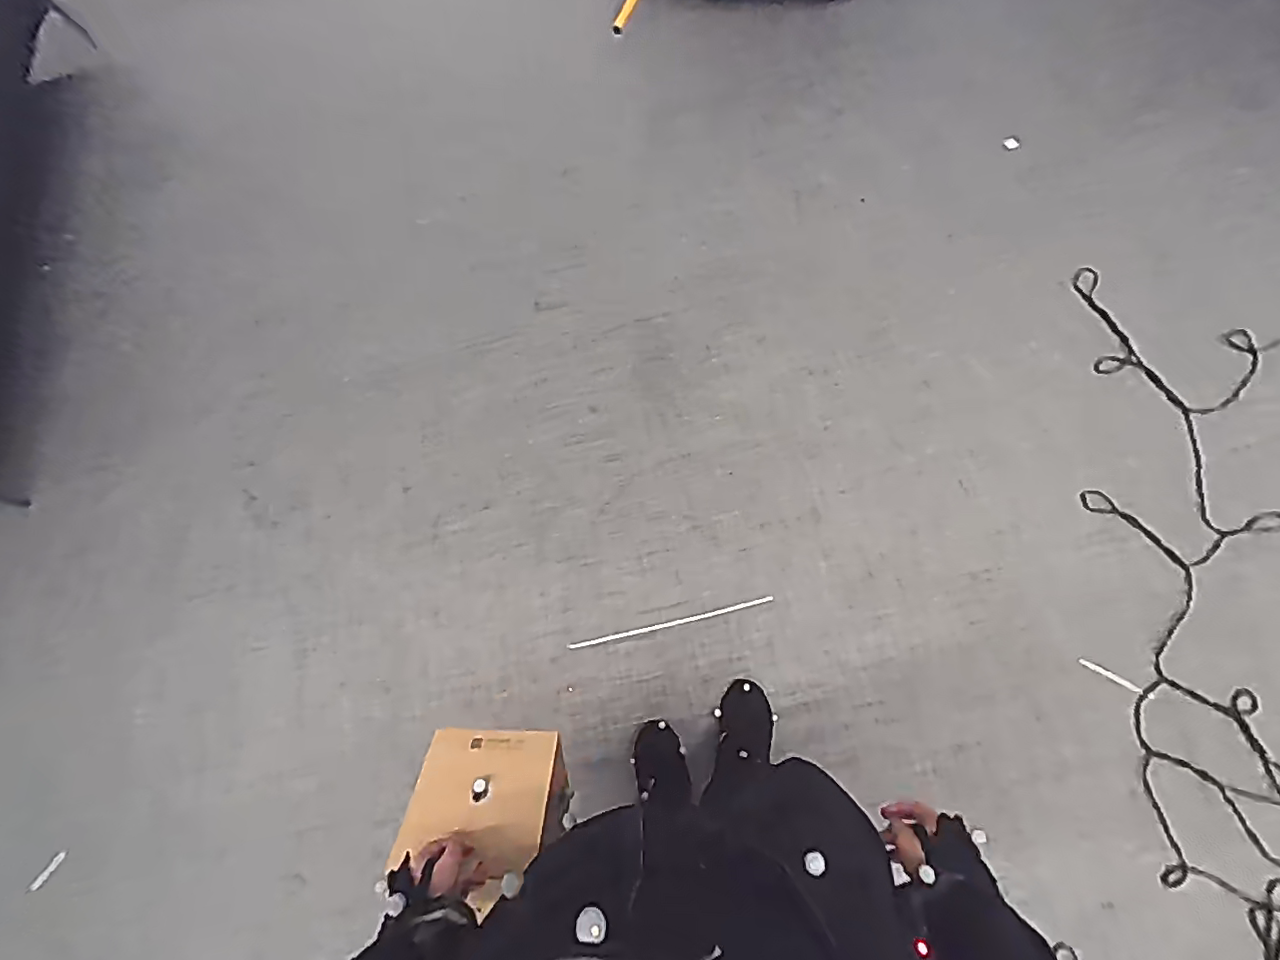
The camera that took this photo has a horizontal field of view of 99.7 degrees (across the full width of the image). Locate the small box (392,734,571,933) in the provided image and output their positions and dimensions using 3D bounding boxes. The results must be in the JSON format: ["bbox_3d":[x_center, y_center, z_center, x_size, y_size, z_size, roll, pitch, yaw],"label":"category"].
[{"bbox_3d":[-0.185,0.447,0.692,0.168,0.179,0.176,-1,35,2],"label":"small box"}]
